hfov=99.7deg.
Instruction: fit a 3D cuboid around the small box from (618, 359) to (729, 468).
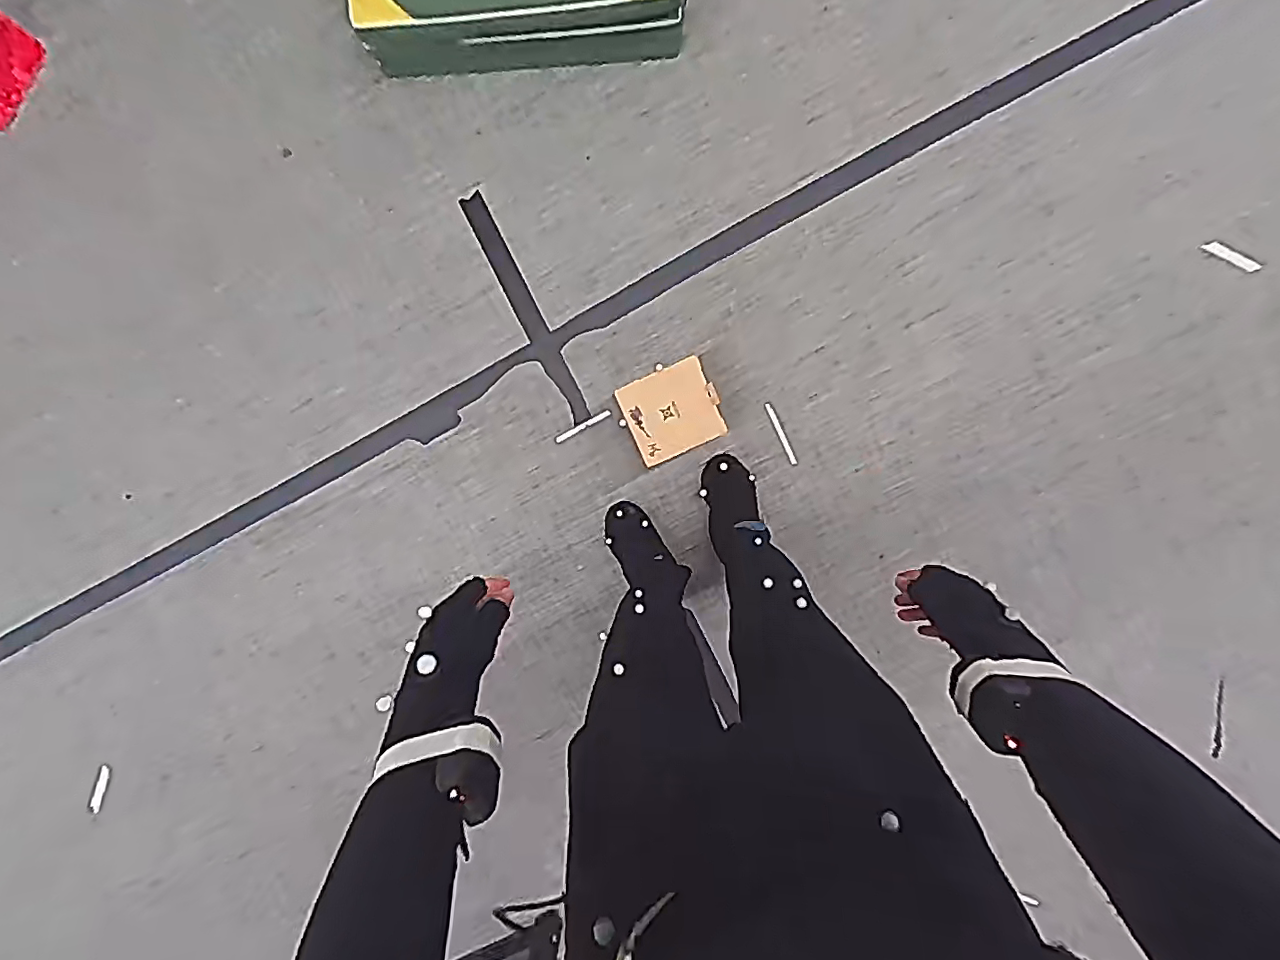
[{"bbox_3d":[0.062,-0.140,1.126,0.179,0.176,0.168,-23,98,2],"label":"small box"}]
